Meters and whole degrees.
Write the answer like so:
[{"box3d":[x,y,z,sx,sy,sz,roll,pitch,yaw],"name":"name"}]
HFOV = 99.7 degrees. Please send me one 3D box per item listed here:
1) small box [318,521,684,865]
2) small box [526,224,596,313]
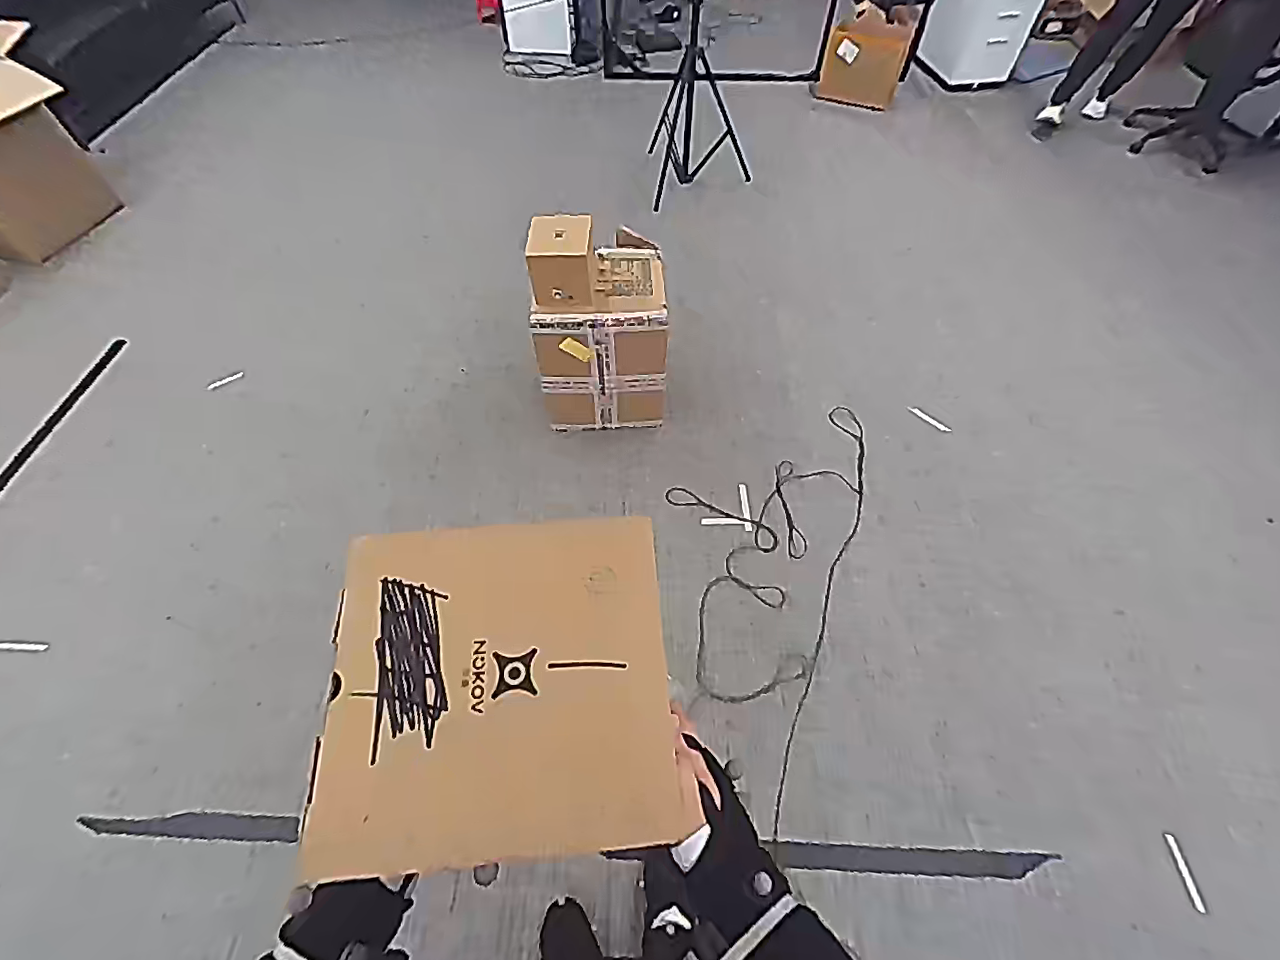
[{"box3d":[-0.072,0.139,0.361,0.179,0.176,0.168,-4,63,-4],"name":"small box"},{"box3d":[-0.217,-0.595,1.527,0.168,0.176,0.179,-1,60,2],"name":"small box"}]
